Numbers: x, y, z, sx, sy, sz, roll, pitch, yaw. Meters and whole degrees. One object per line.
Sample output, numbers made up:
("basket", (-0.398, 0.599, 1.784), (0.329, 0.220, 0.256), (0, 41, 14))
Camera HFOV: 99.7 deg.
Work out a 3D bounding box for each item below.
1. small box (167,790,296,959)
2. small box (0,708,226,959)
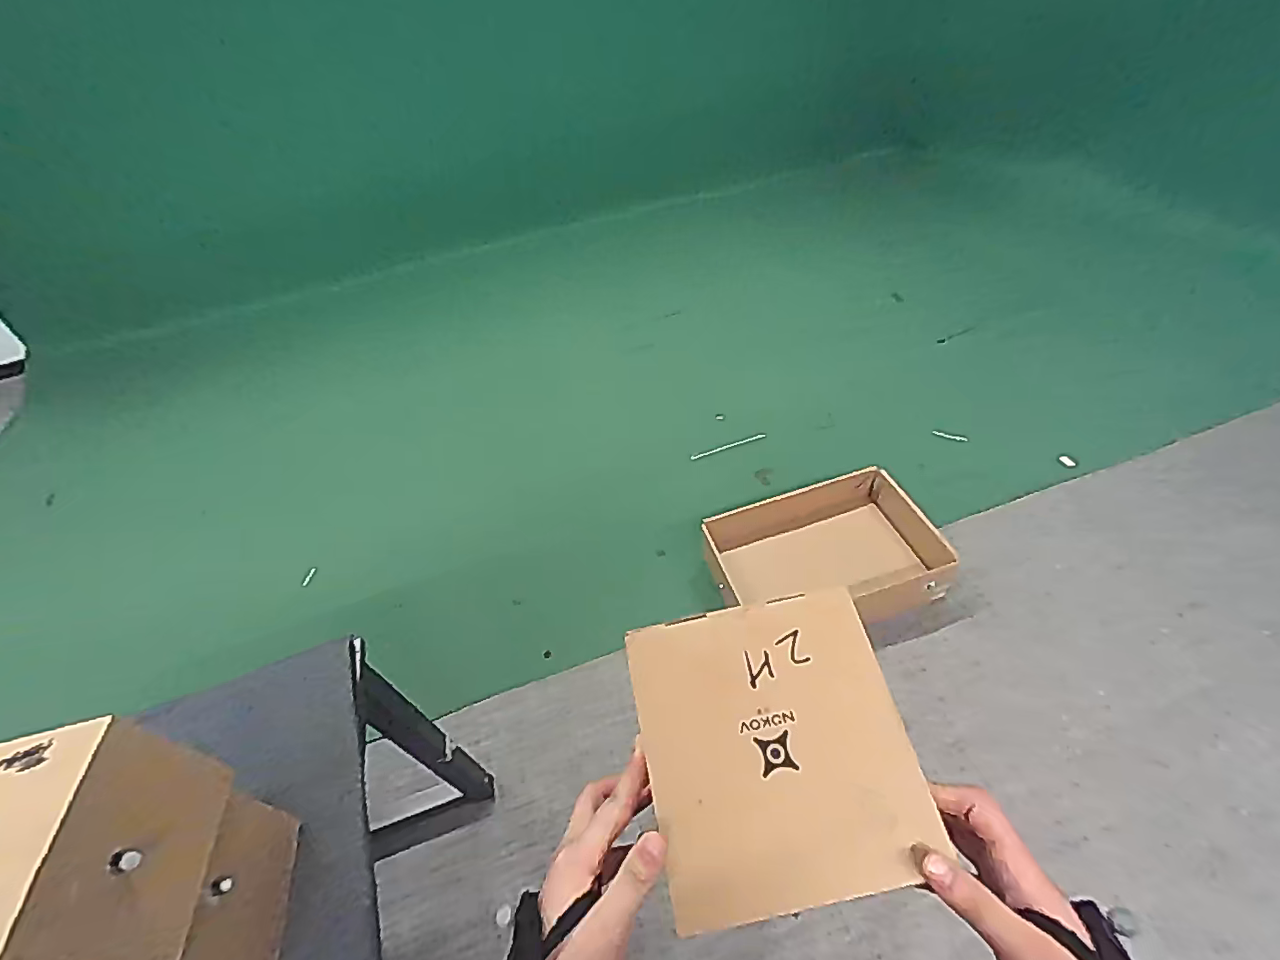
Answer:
("small box", (-0.503, 0.454, 0.576), (0.168, 0.176, 0.179), (-15, 46, -6))
("small box", (-0.510, 0.330, 0.467), (0.168, 0.176, 0.179), (-13, 47, -3))
